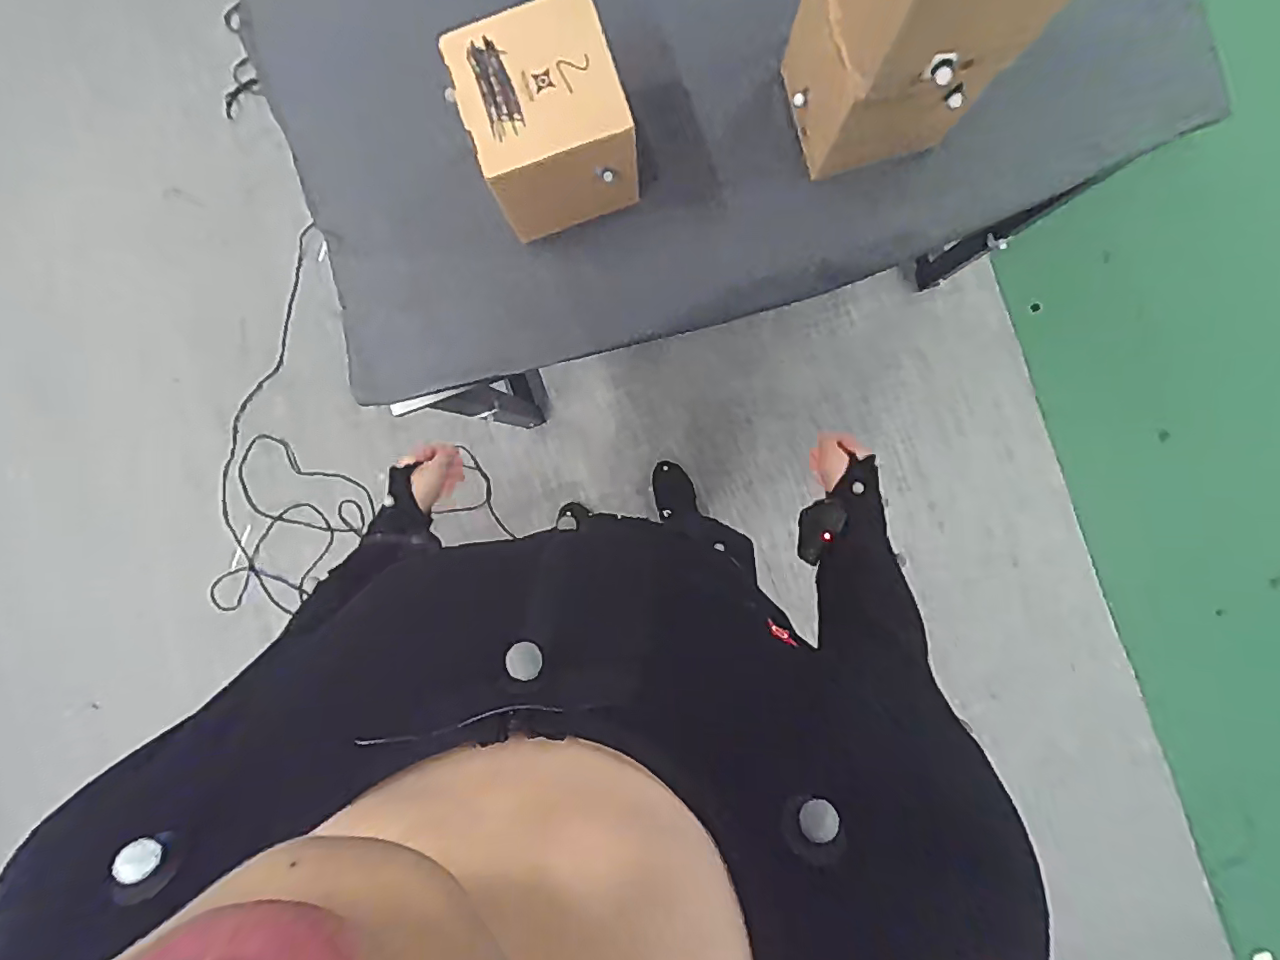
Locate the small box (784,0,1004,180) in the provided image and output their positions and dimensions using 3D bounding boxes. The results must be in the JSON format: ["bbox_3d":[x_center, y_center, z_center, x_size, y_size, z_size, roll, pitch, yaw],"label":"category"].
[{"bbox_3d":[0.292,-0.500,0.647,0.179,0.176,0.168,-15,90,3],"label":"small box"}]

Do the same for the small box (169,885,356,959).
[{"bbox_3d":[-0.490,0.641,0.647,0.179,0.176,0.168,29,95,-1],"label":"small box"}]

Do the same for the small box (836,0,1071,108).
[{"bbox_3d":[0.286,-0.489,0.485,0.168,0.176,0.179,-13,92,4],"label":"small box"}]
